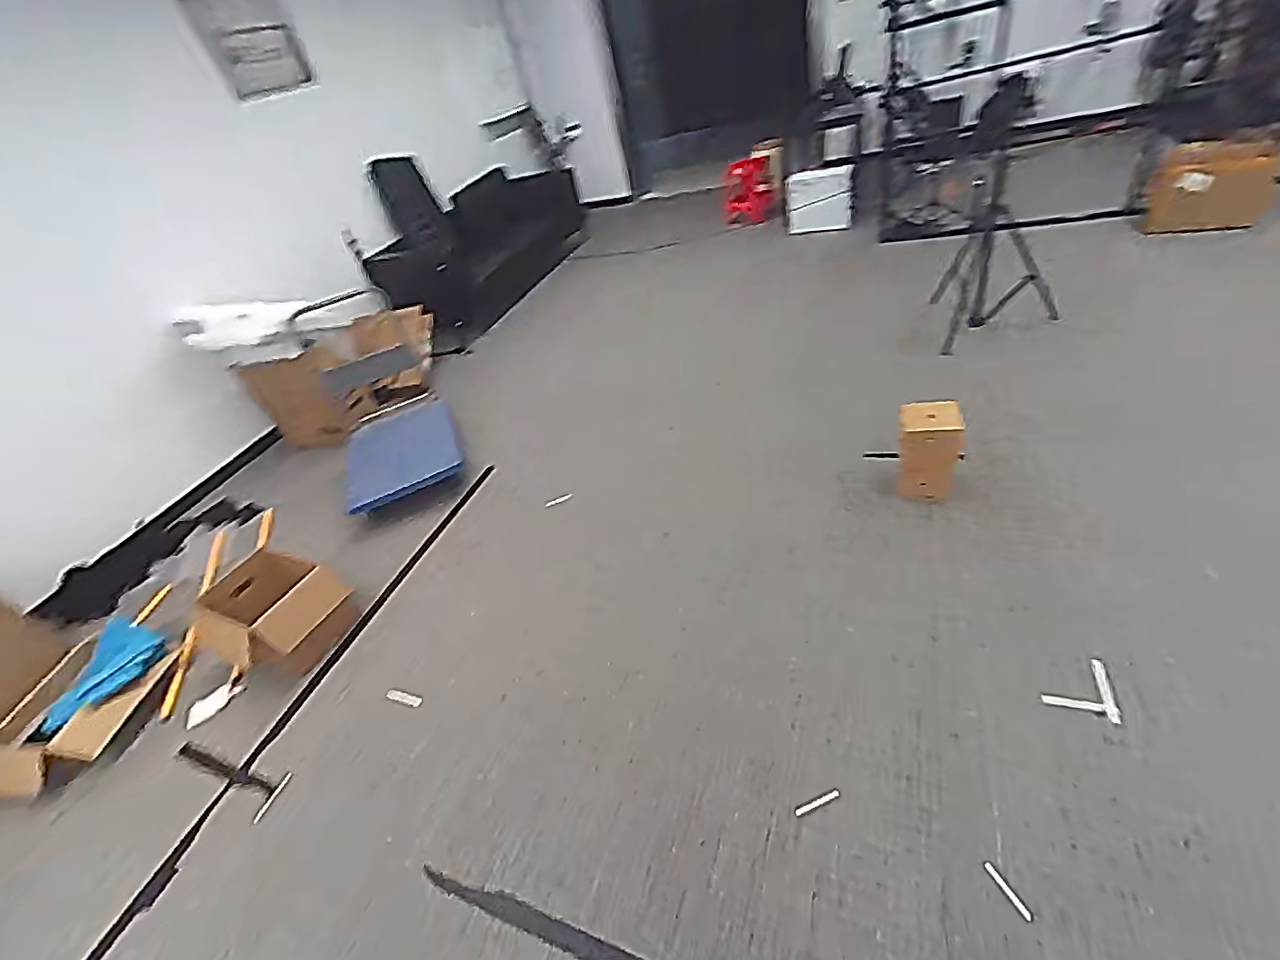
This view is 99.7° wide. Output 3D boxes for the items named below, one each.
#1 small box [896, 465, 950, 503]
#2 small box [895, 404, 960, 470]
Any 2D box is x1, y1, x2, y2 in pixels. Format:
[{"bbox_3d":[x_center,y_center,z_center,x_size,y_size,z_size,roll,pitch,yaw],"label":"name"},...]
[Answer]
[{"bbox_3d":[1.051,-0.032,2.006,0.168,0.176,0.179,5,43,26],"label":"small box"},{"bbox_3d":[1.005,-0.148,1.902,0.179,0.176,0.168,-2,41,20],"label":"small box"}]
